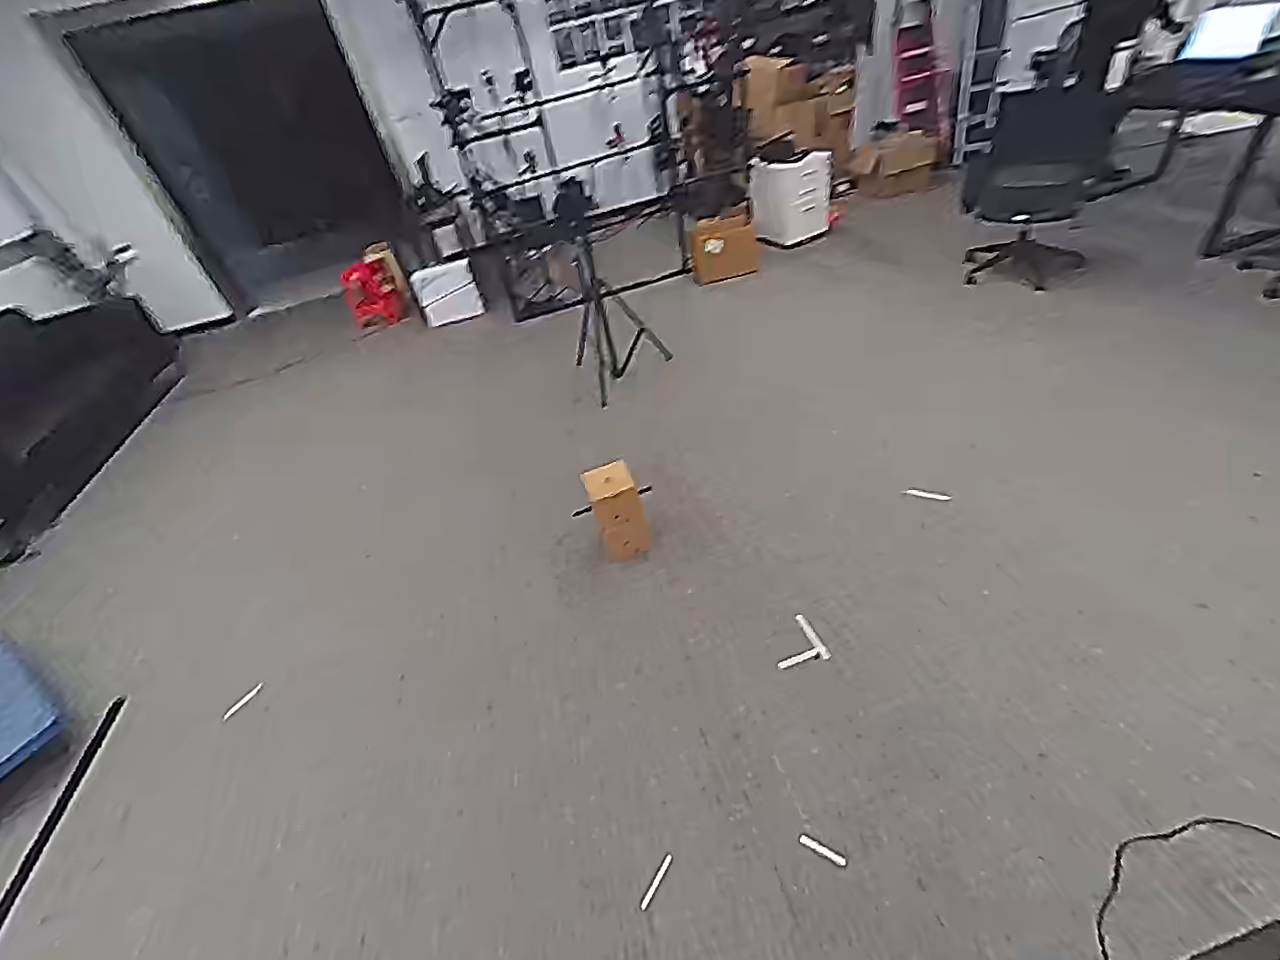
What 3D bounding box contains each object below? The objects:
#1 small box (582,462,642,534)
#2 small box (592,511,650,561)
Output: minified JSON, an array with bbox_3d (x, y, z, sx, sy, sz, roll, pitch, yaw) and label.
[{"bbox_3d":[-0.104,0.068,2.011,0.168,0.176,0.179,-20,40,-7],"label":"small box"},{"bbox_3d":[-0.073,0.192,2.111,0.168,0.176,0.179,-20,38,-9],"label":"small box"}]
